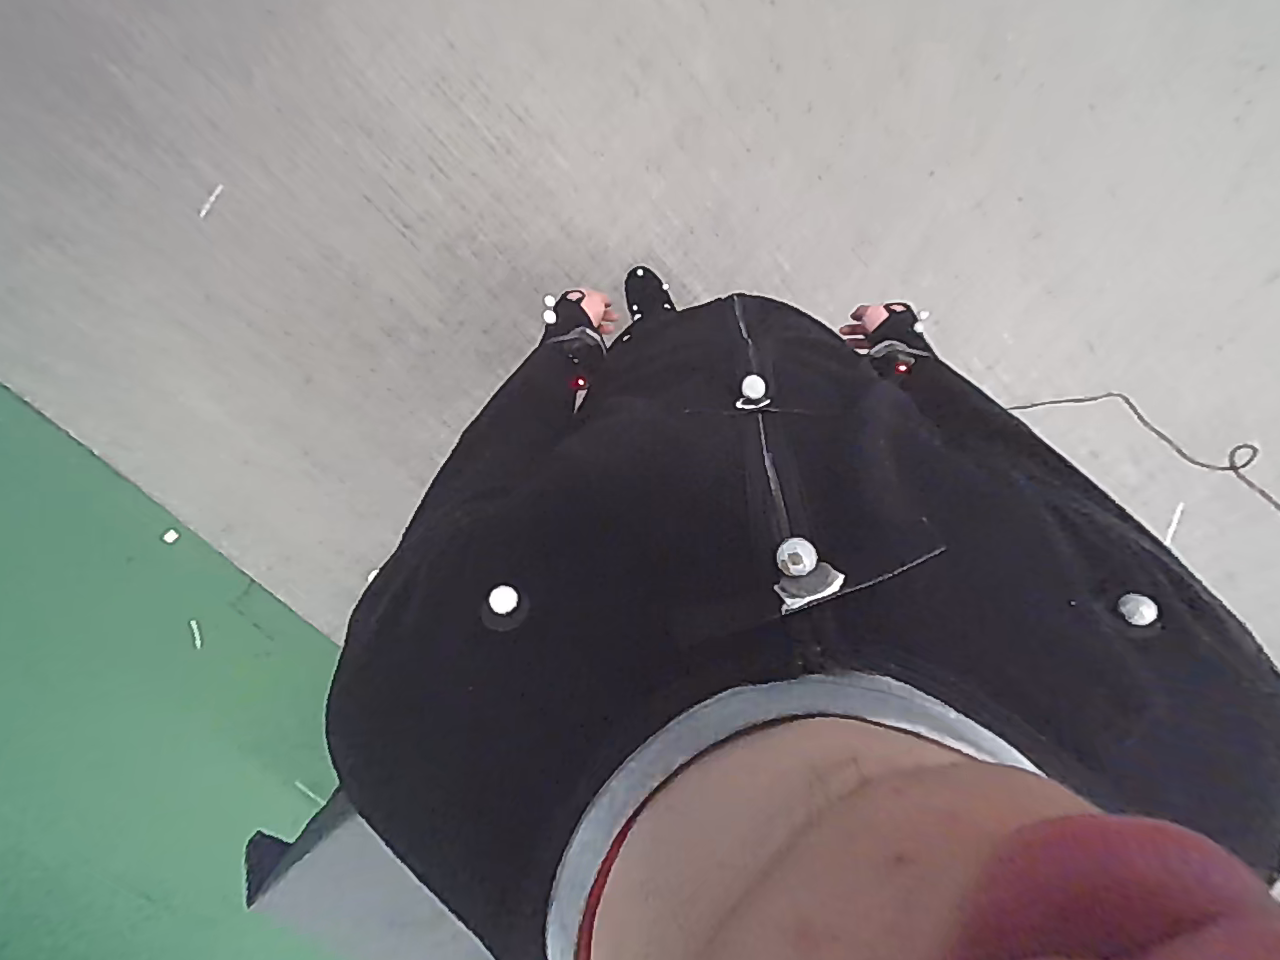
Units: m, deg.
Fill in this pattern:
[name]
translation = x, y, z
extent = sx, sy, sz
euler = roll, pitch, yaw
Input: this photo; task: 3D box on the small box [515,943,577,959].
[small box]
translation = -0.214, 1.194, 1.212
extent = 0.179, 0.176, 0.168
euler = -41, 104, 17
